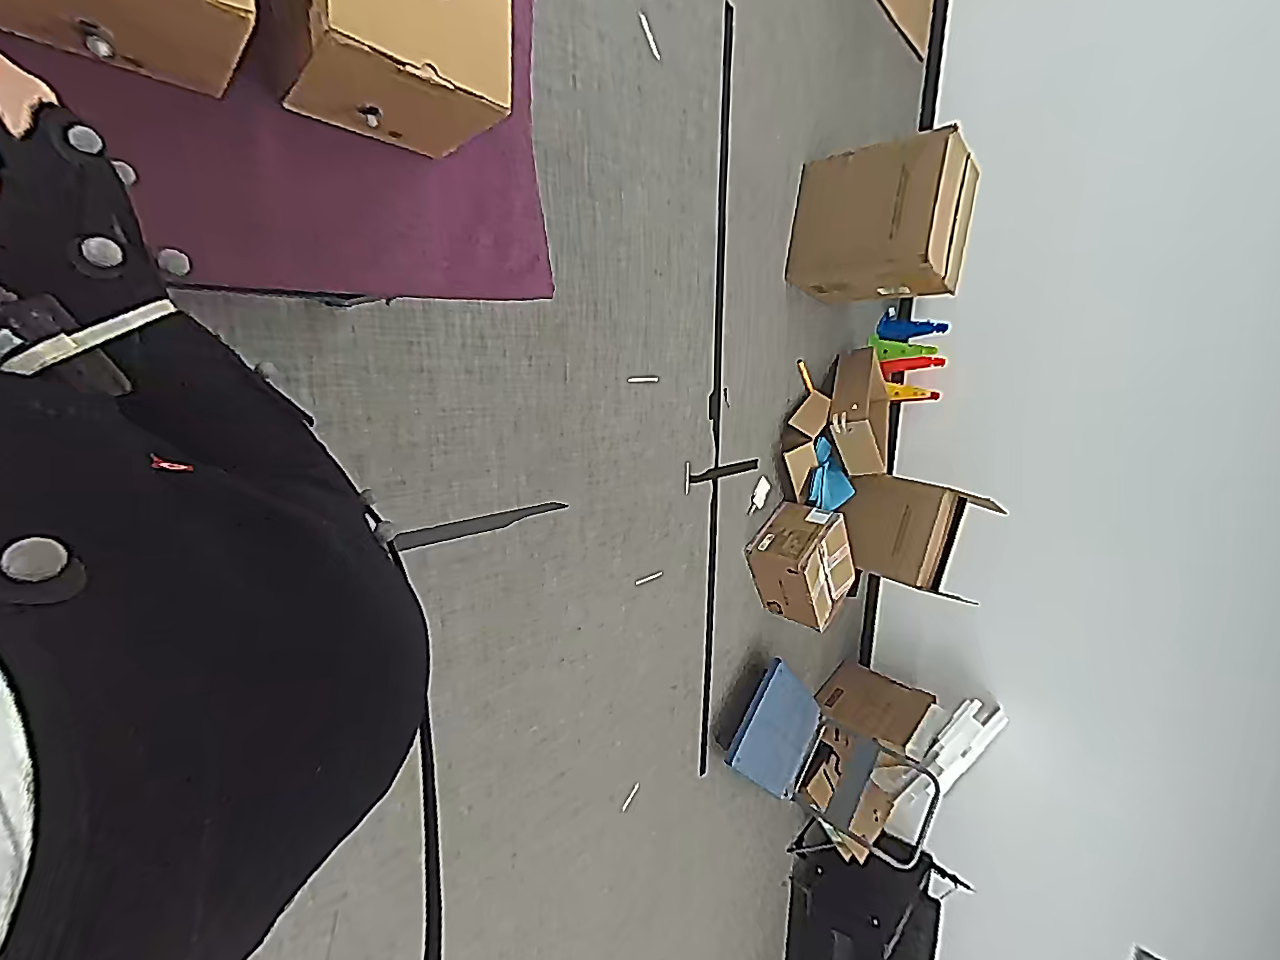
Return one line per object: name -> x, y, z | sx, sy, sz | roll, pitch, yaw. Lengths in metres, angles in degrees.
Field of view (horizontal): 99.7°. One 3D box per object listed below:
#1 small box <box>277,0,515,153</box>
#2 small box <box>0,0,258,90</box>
small box -> -0.236, -0.452, 0.519 | 0.168, 0.176, 0.179 | -7, 104, -44
small box -> -0.385, -0.421, 0.374 | 0.168, 0.176, 0.179 | -7, 104, -44
